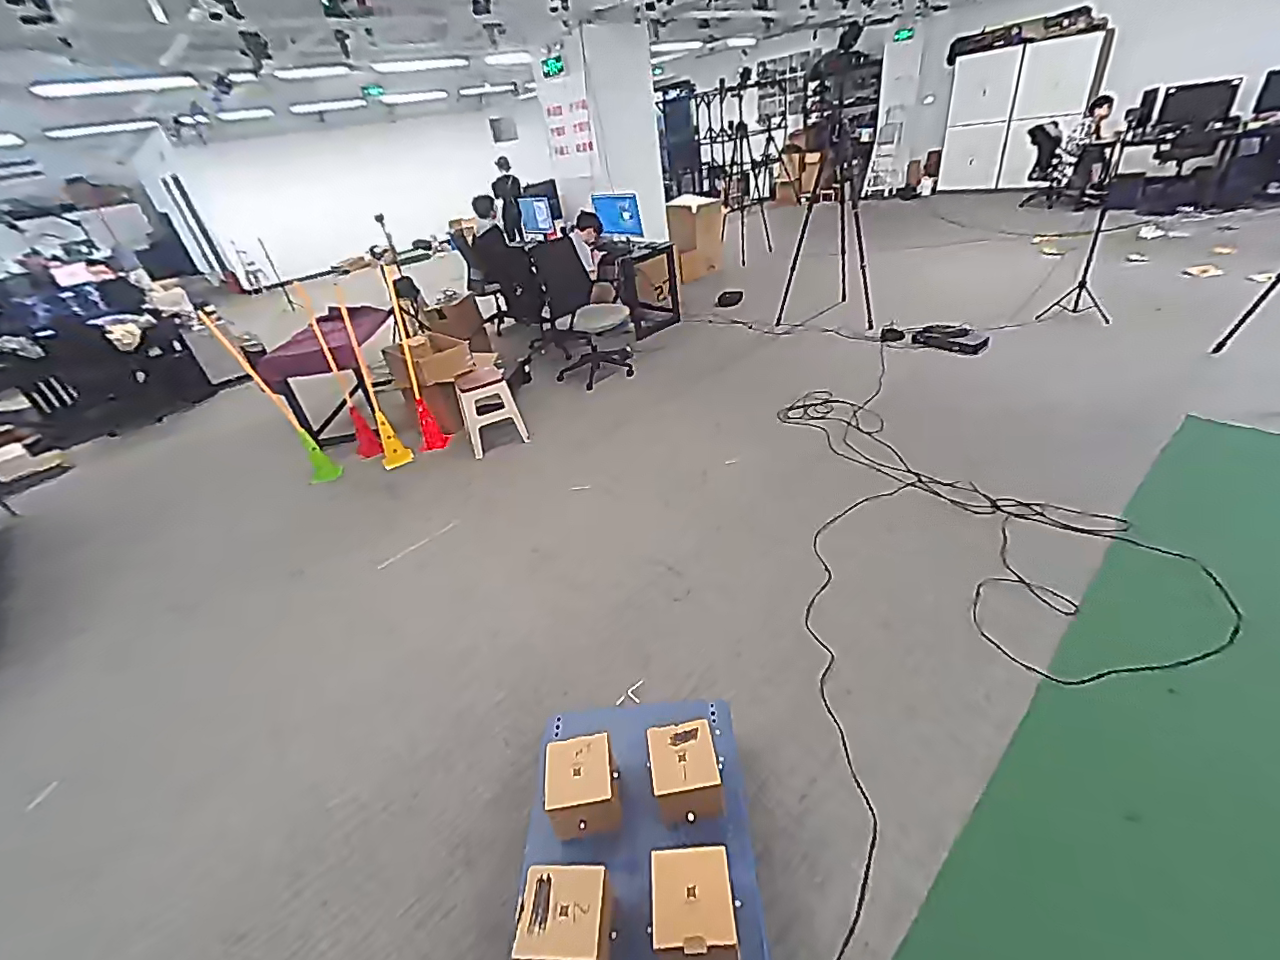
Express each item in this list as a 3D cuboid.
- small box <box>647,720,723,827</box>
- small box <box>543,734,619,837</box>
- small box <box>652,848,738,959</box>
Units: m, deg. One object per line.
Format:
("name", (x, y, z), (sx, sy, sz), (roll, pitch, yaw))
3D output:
("small box", (0.115, 0.761, 1.405), (0.168, 0.176, 0.179), (-10, 34, 0))
("small box", (-0.151, 0.801, 1.410), (0.168, 0.176, 0.179), (-9, 33, -1))
("small box", (0.115, 0.927, 1.159), (0.168, 0.176, 0.179), (-7, 34, 4))
